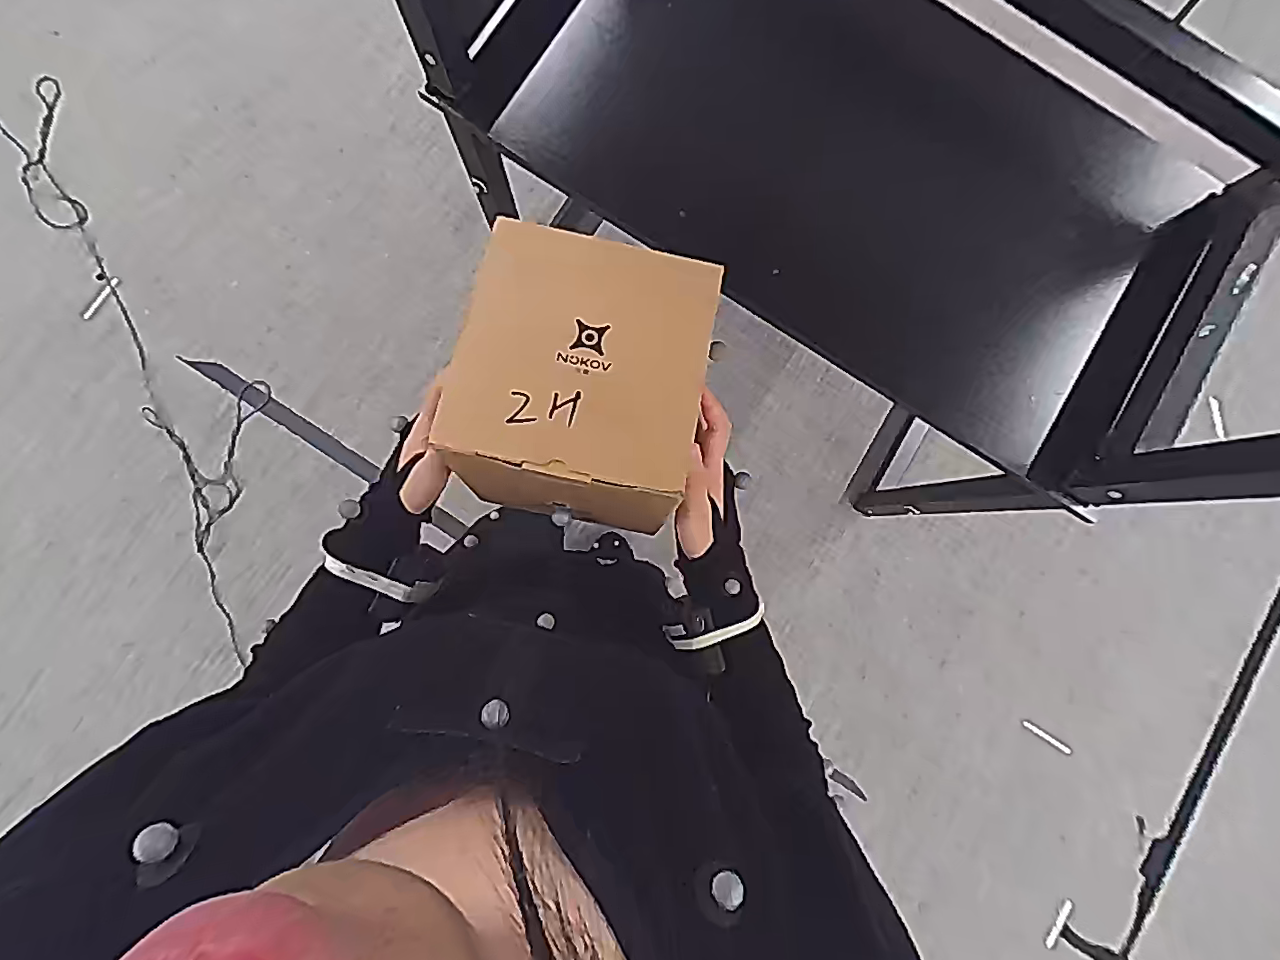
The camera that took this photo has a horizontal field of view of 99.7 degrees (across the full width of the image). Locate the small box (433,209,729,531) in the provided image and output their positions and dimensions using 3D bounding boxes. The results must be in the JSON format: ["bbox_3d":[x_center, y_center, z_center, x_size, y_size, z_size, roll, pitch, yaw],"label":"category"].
[{"bbox_3d":[-0.040,-0.070,0.432,0.168,0.176,0.179,12,75,-2],"label":"small box"}]
